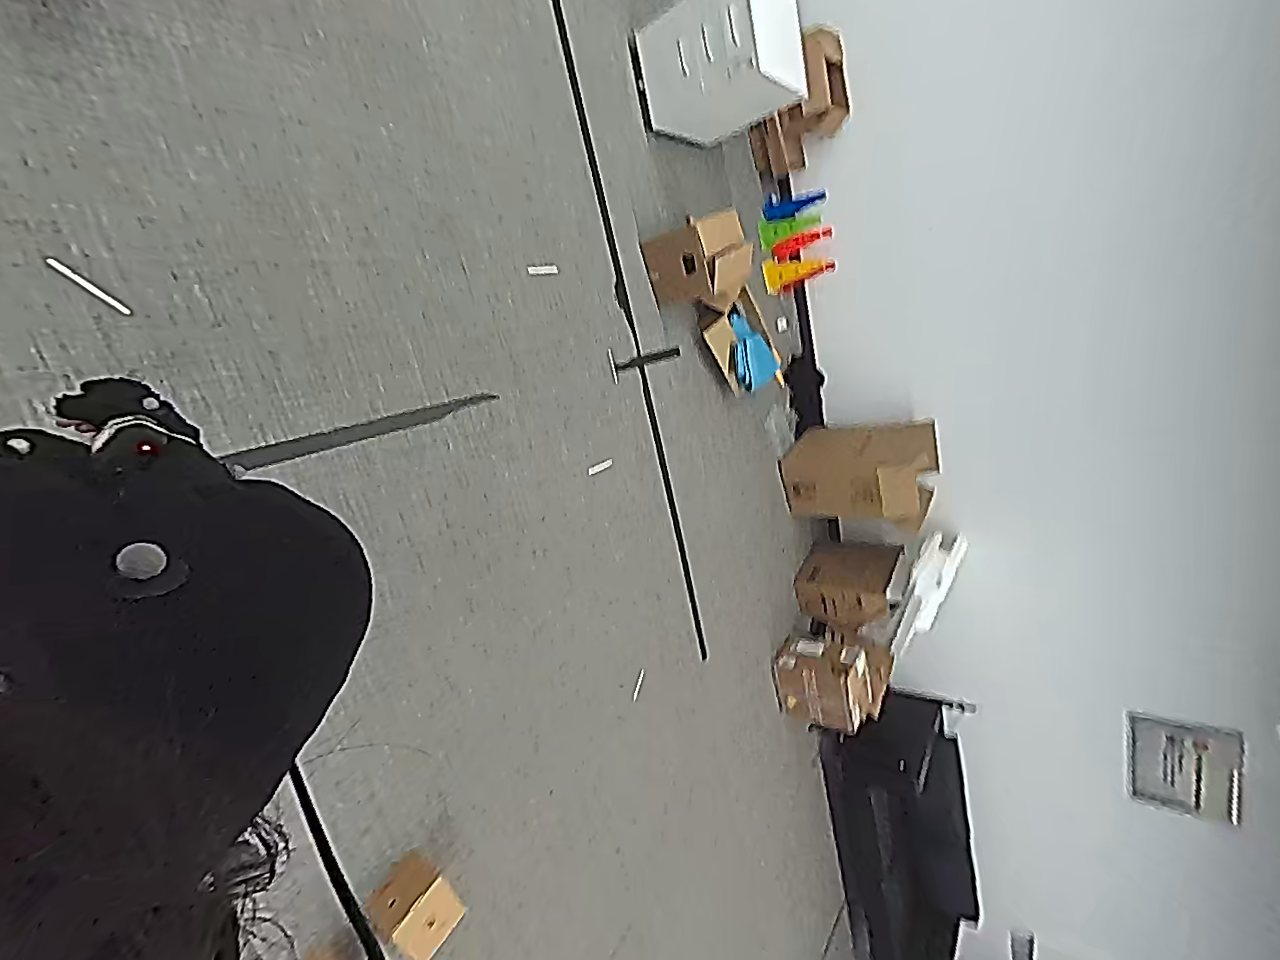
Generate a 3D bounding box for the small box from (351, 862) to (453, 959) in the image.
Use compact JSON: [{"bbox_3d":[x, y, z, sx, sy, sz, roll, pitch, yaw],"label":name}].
[{"bbox_3d":[-0.672,1.223,1.524,0.168,0.176,0.179,-41,121,-43],"label":"small box"}]
